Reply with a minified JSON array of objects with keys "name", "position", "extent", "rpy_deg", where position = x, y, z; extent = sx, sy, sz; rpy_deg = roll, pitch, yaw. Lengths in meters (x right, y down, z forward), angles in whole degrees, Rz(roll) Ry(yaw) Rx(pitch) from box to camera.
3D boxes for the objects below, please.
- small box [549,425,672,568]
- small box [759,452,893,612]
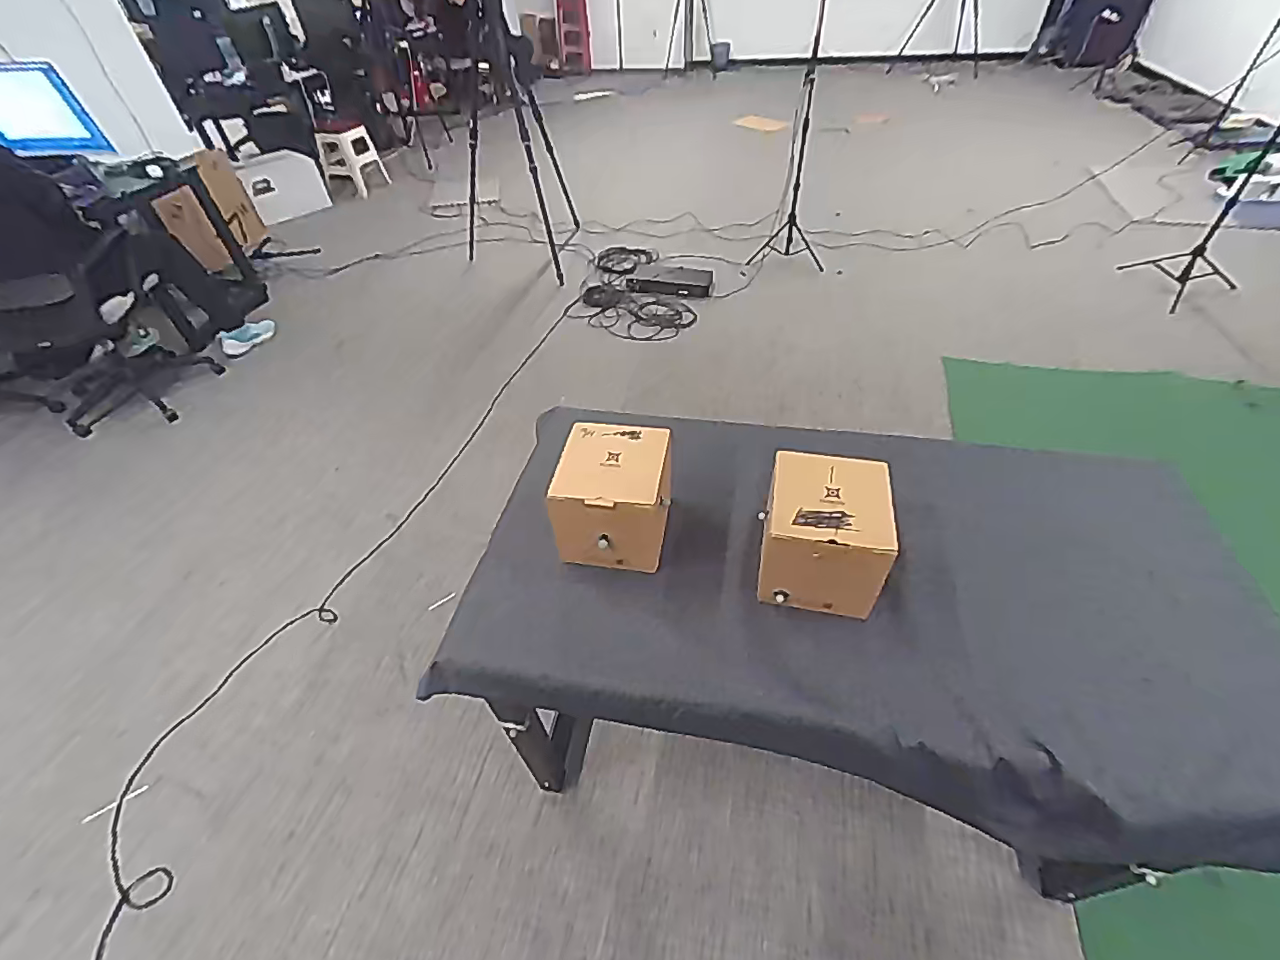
[{"name":"small box","position":[-0.039,0.029,0.915],"extent":[0.168,0.176,0.179],"rpy_deg":[5,47,9]},{"name":"small box","position":[0.280,0.082,0.838],"extent":[0.168,0.176,0.179],"rpy_deg":[7,46,12]}]
